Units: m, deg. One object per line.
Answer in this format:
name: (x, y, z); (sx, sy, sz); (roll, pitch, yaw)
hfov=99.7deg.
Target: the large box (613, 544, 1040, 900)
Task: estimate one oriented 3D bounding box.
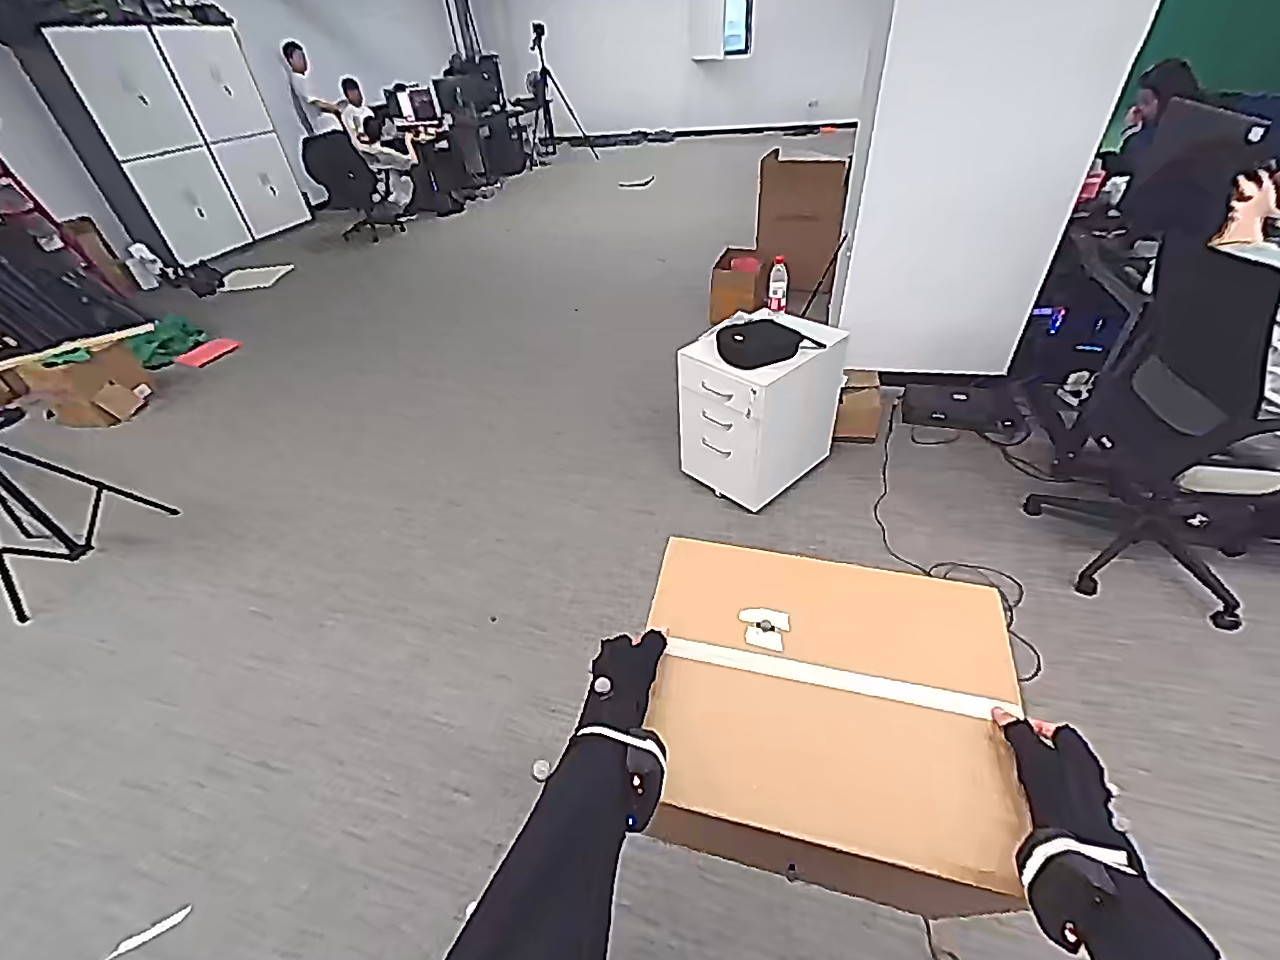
large box: (0.212, 0.320, 0.722); (0.408, 0.320, 0.320); (7, 50, 13)
